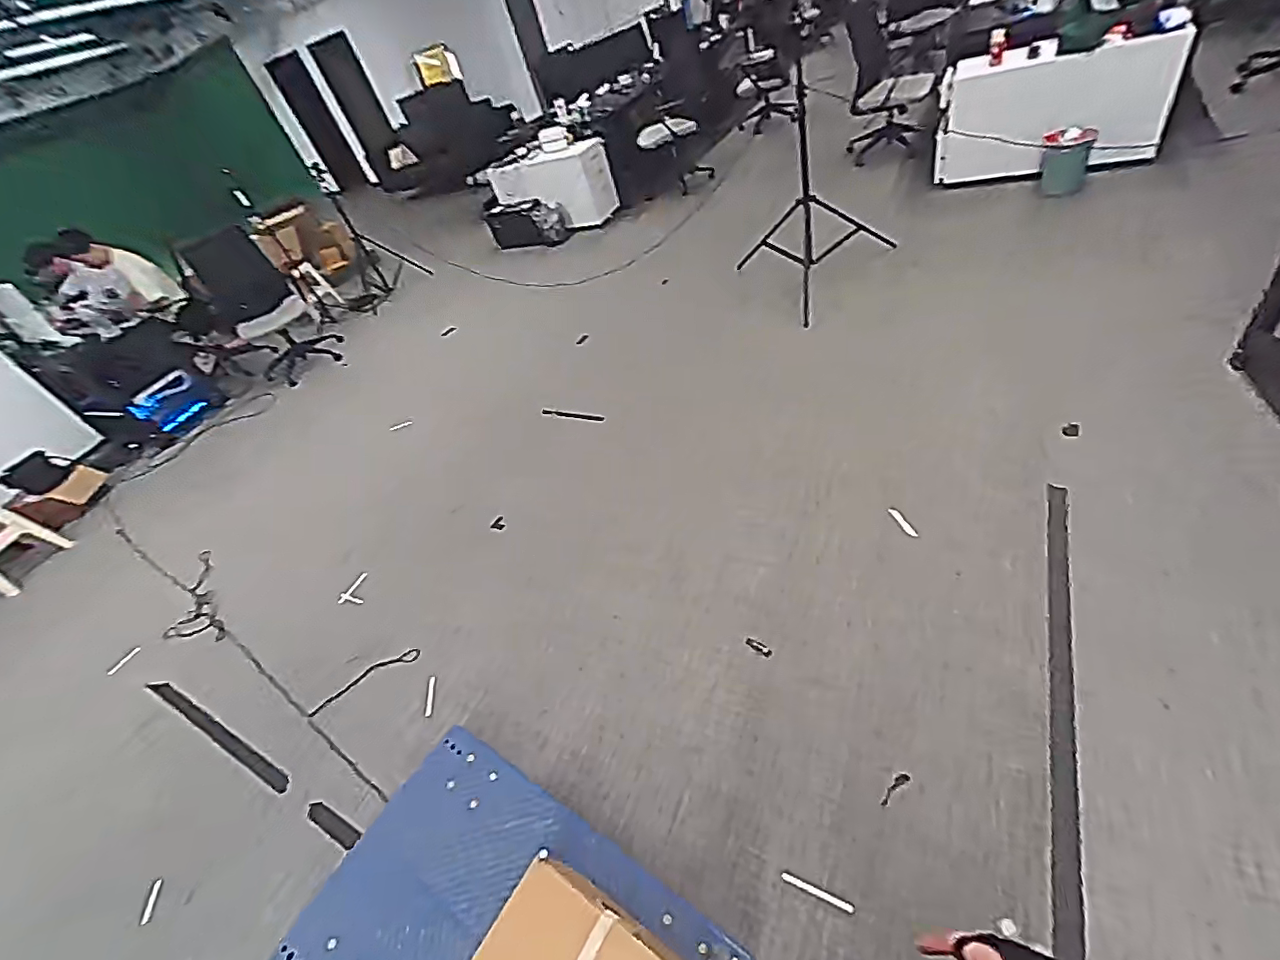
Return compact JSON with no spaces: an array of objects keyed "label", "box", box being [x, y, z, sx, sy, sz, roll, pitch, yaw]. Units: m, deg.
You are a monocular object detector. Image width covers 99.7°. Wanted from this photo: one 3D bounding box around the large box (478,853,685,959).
[{"label":"large box","box":[-0.123,0.928,0.876,0.320,0.320,0.408,21,55,28]}]
